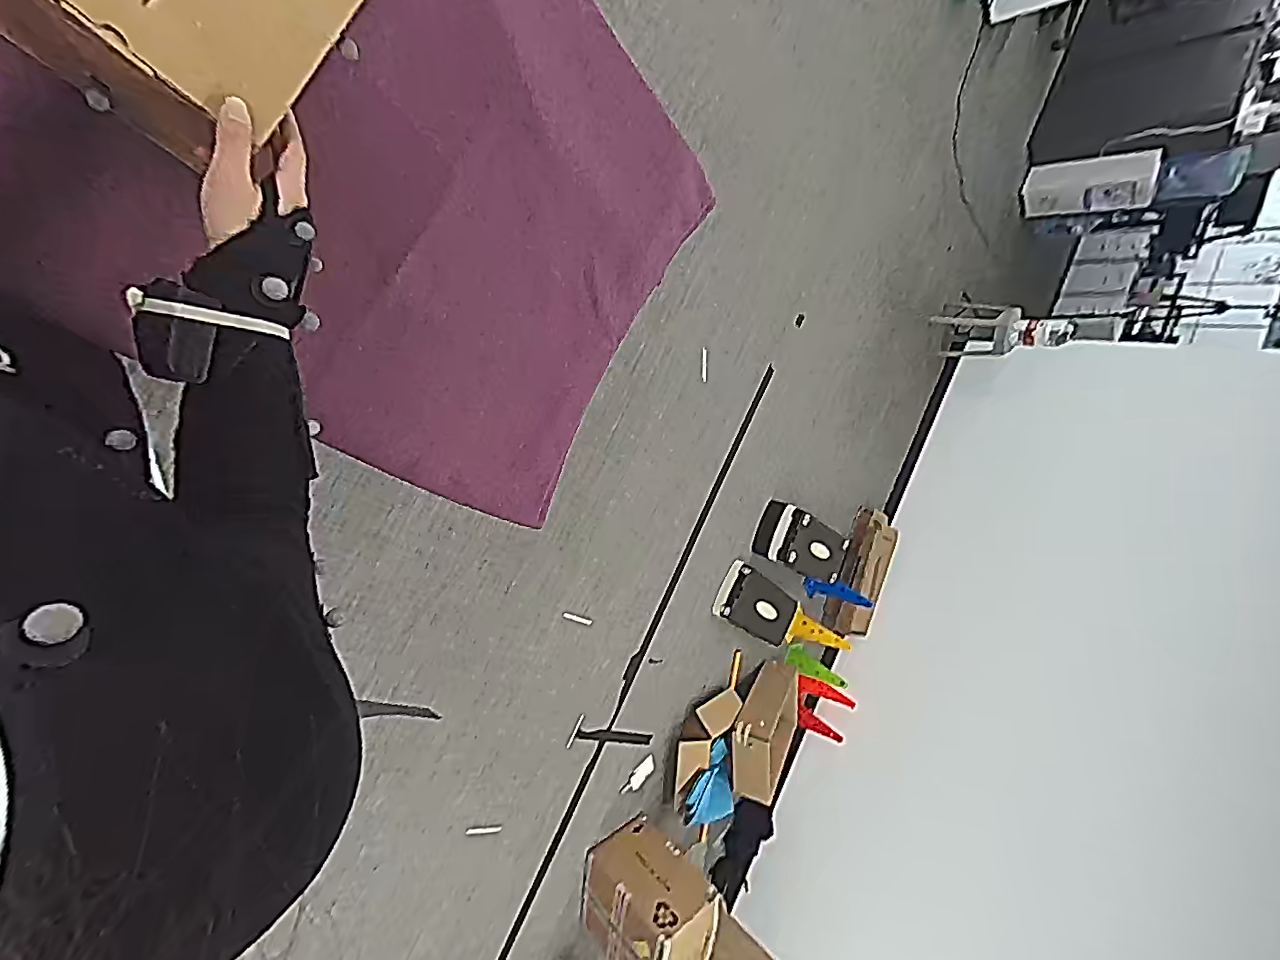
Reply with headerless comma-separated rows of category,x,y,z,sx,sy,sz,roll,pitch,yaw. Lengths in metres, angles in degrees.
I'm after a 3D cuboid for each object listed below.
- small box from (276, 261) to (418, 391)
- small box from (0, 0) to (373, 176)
small box,-0.576,-0.297,1.055,0.168,0.176,0.179,35,78,-45
small box,-0.327,-0.357,0.387,0.168,0.176,0.179,36,78,-45
